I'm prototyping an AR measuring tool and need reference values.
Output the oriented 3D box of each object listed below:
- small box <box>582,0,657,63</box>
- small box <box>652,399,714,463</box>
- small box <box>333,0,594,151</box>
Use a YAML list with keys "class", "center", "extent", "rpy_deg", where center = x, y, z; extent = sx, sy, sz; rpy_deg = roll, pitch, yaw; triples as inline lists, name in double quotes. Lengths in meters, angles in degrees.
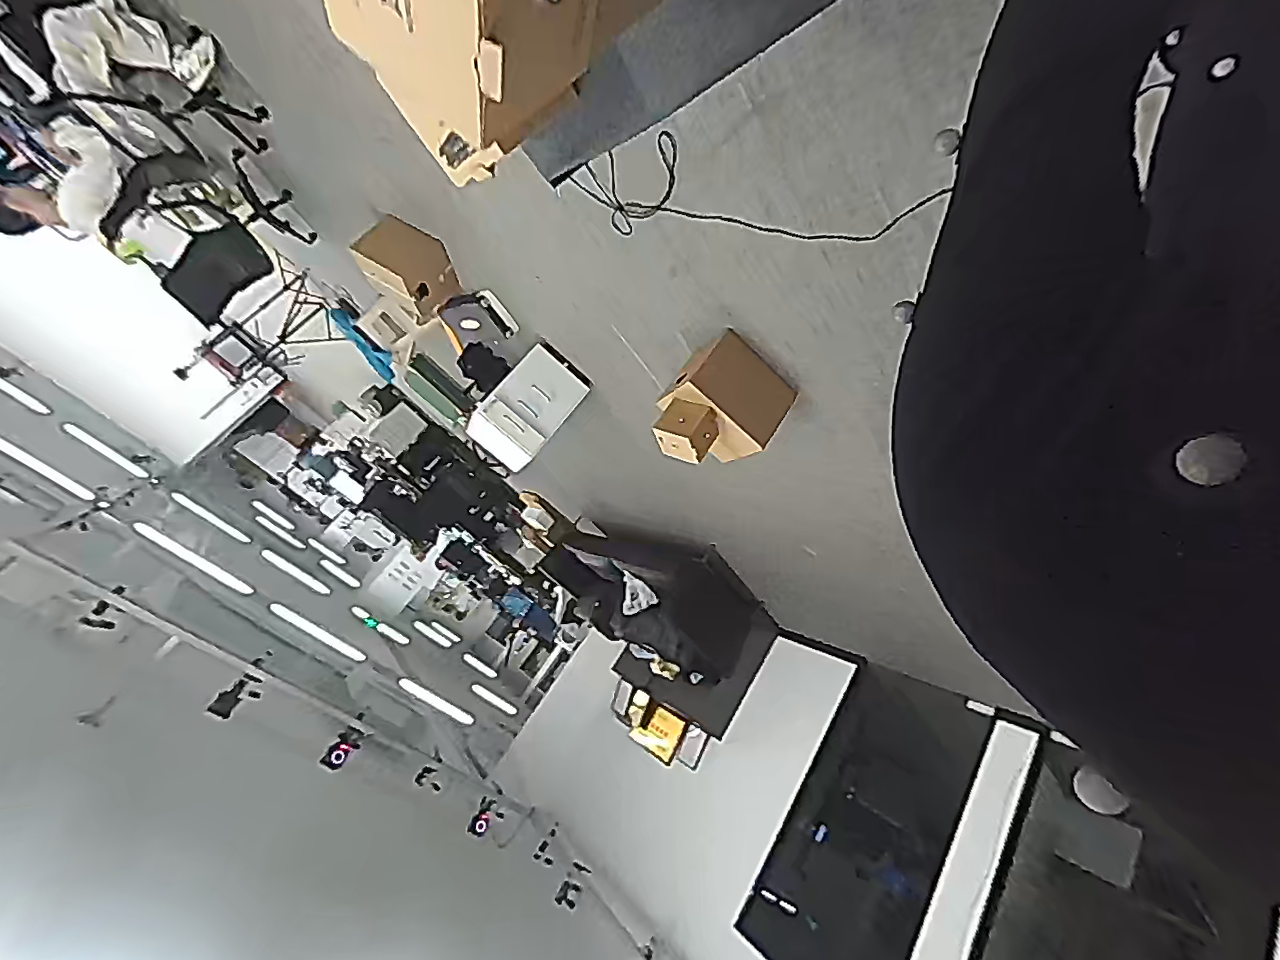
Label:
- class: "small box"
  center: [-0.068, -0.570, 0.531]
  extent: [0.179, 0.176, 0.168]
  rpy_deg: [34, 158, 8]
- class: "small box"
  center: [0.180, -0.197, 2.140]
  extent: [0.179, 0.176, 0.168]
  rpy_deg: [20, 153, 33]
- class: "small box"
  center: [-0.145, -0.443, 0.463]
  extent: [0.179, 0.176, 0.168]
  rpy_deg: [39, 158, -2]
